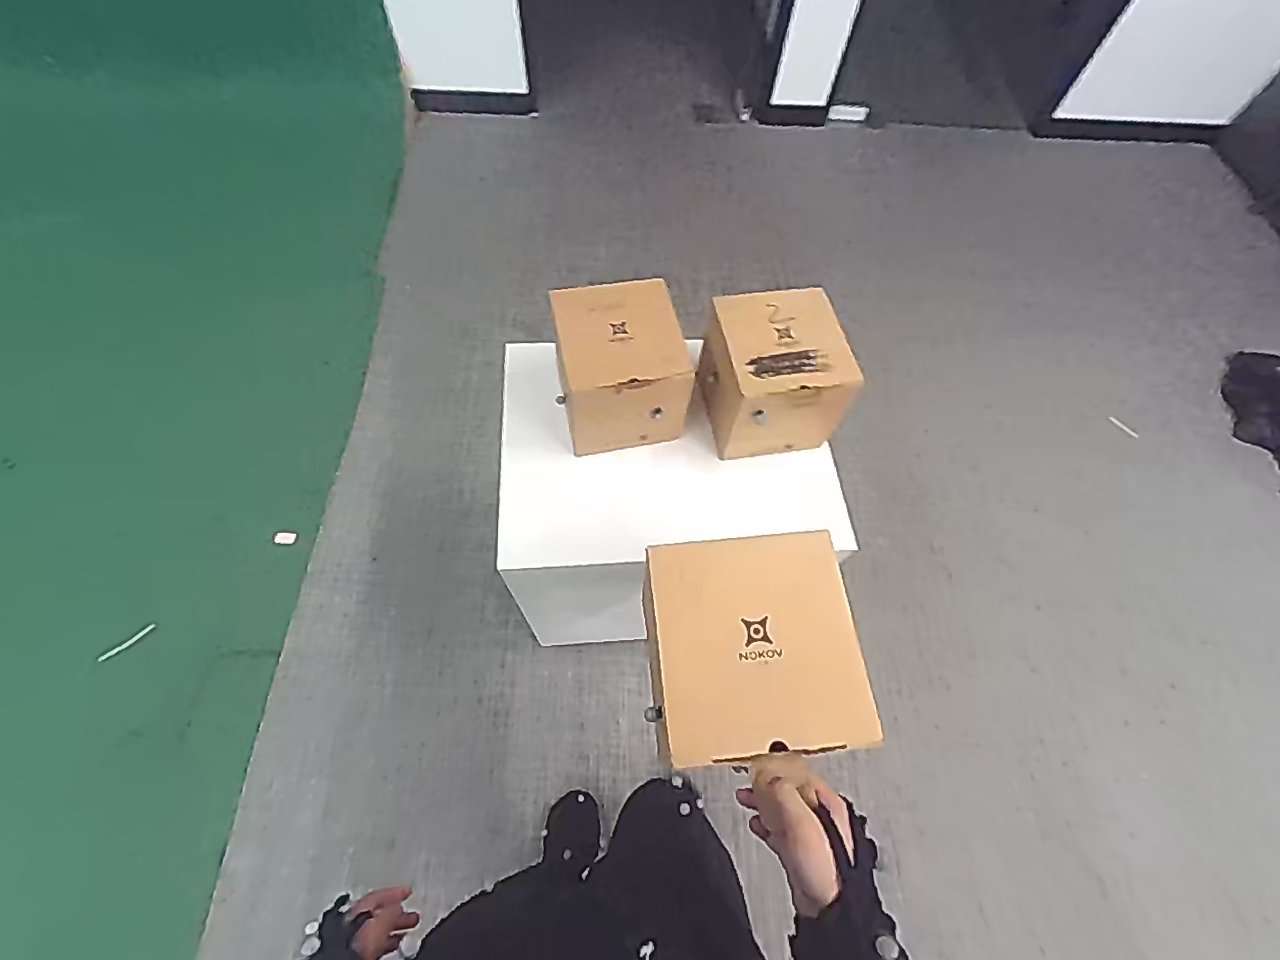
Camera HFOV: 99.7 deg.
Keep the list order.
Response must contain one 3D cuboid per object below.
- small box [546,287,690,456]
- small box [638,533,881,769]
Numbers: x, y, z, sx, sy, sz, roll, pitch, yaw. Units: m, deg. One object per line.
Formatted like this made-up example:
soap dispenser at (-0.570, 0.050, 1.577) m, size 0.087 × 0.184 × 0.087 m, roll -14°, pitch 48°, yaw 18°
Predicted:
small box at (-0.037, -0.148, 0.785) m, size 0.168 × 0.176 × 0.179 m, roll -10°, pitch 63°, yaw -11°
small box at (0.090, 0.166, 0.511) m, size 0.168 × 0.176 × 0.179 m, roll -5°, pitch 64°, yaw -5°
